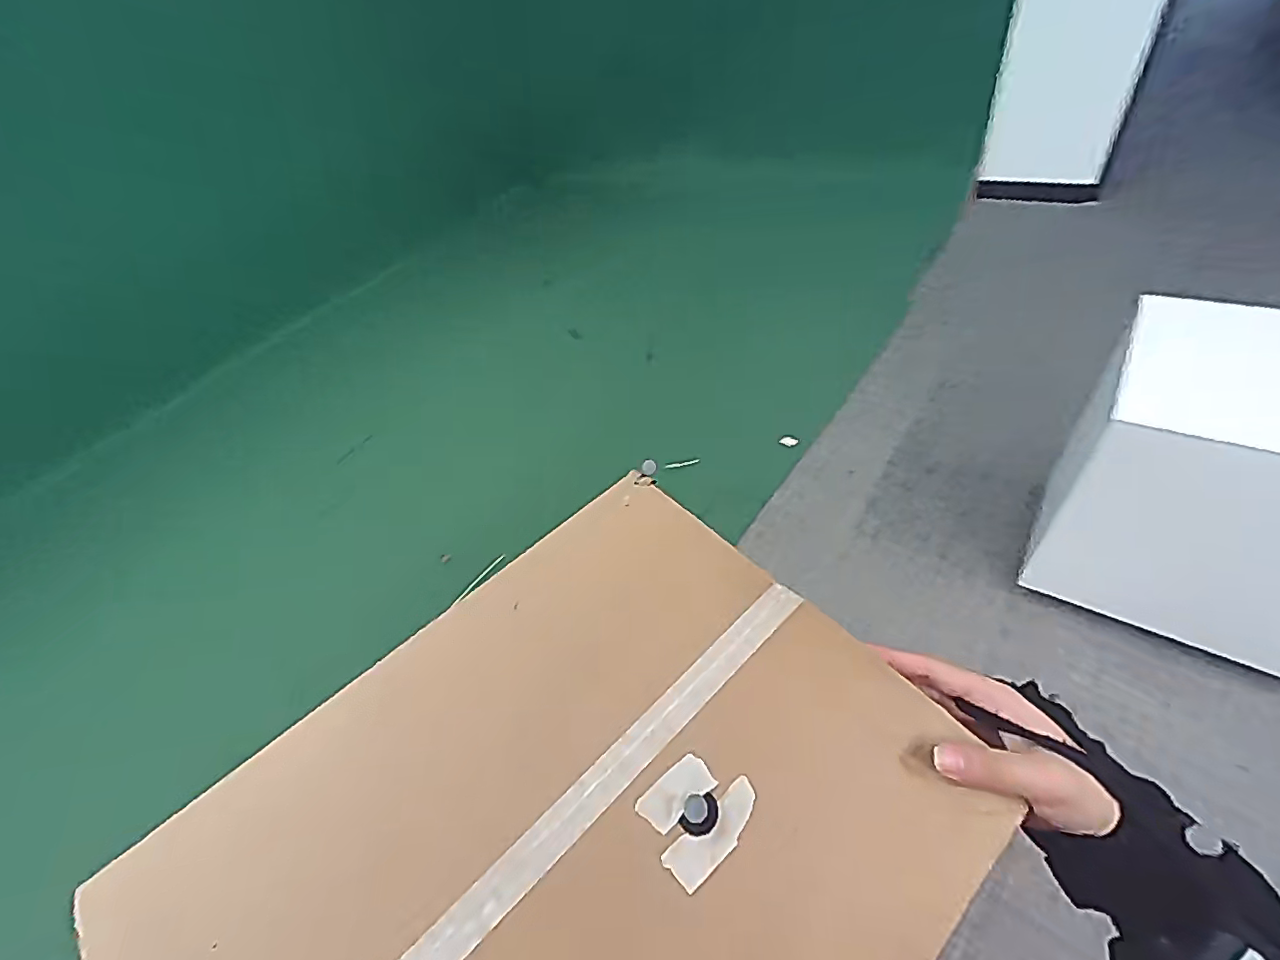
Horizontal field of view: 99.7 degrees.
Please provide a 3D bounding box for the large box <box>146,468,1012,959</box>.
[{"bbox_3d":[-0.025,0.275,0.416,0.408,0.320,0.320,-36,57,-22],"label":"large box"}]
